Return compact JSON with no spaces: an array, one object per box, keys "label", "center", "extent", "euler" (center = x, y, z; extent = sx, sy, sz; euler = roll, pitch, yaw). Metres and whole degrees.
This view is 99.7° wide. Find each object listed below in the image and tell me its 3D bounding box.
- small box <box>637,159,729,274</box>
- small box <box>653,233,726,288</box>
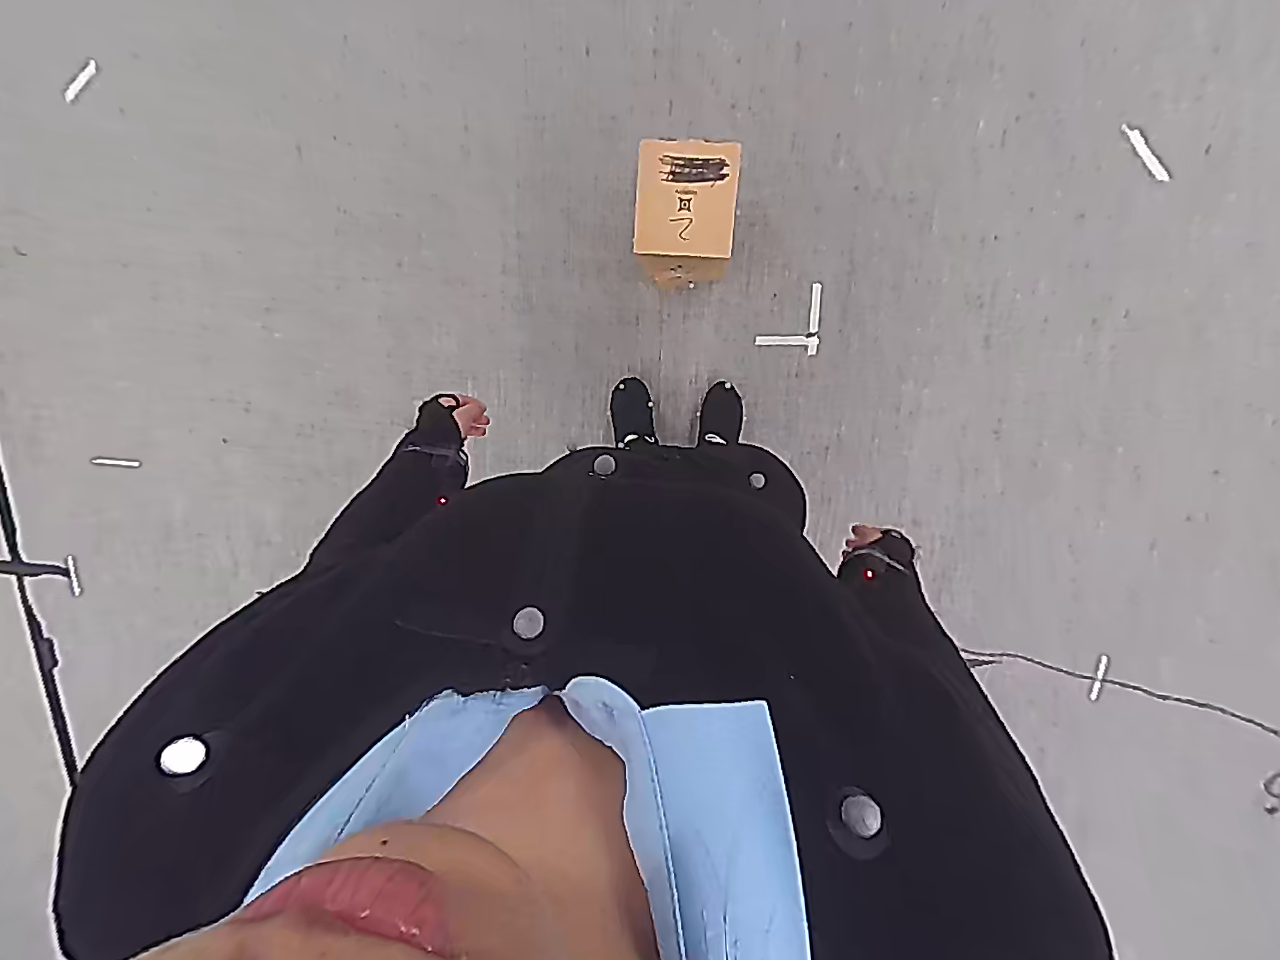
[{"label":"small box","center":[0.085,-0.532,1.111],"extent":[0.168,0.176,0.179],"euler":[4,104,4]},{"label":"small box","center":[0.105,-0.563,1.270],"extent":[0.168,0.176,0.179],"euler":[-8,103,7]}]
